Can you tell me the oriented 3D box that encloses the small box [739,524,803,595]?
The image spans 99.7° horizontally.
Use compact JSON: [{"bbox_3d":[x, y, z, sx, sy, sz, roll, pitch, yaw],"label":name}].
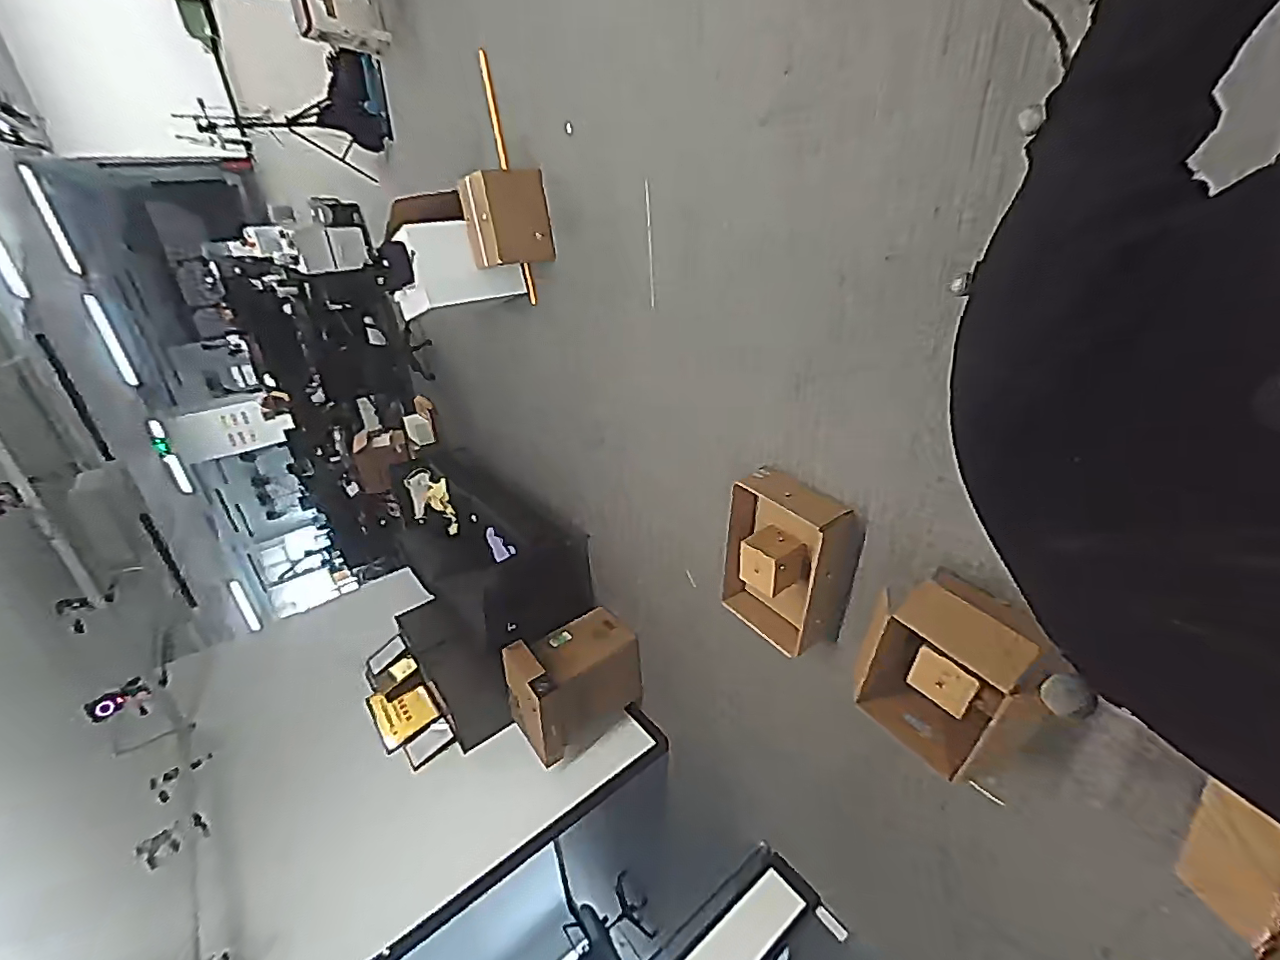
[{"bbox_3d":[0.493,0.293,2.031,0.168,0.176,0.179,29,132,46],"label":"small box"}]
